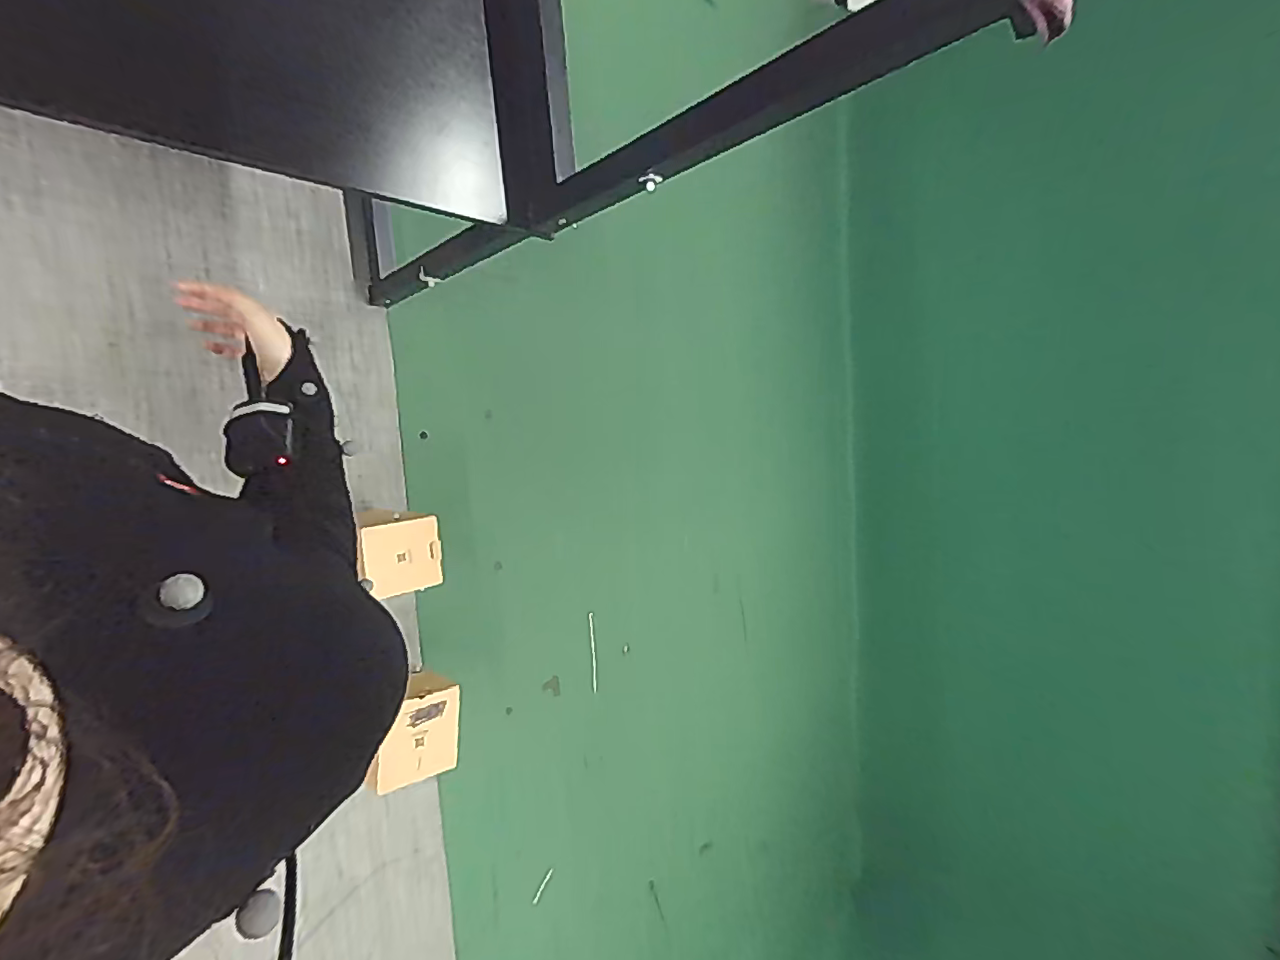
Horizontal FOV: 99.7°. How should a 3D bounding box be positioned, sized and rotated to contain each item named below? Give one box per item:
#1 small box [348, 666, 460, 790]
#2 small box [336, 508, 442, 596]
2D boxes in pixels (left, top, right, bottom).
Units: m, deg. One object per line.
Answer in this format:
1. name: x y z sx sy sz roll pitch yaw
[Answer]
1. small box: -0.500 0.507 1.141 0.168 0.176 0.179 3 90 -46
2. small box: -0.593 0.161 1.270 0.179 0.176 0.168 -11 99 -47
